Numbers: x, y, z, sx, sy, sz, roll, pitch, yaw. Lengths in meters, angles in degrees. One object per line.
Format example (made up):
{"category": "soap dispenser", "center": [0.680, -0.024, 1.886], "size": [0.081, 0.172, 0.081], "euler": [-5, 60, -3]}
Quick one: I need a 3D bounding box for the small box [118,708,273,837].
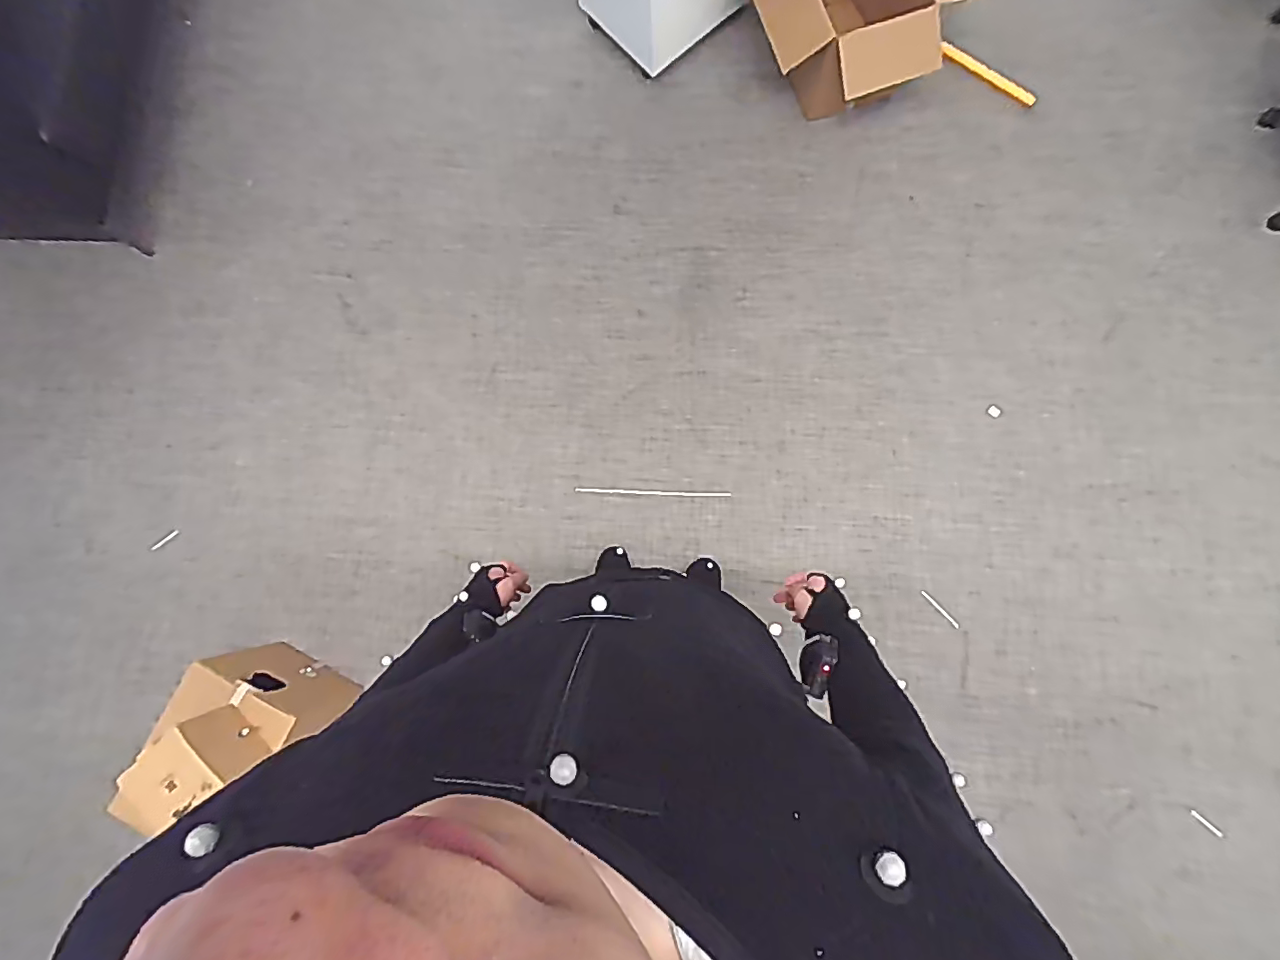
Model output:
{"category": "small box", "center": [-0.999, 0.649, 1.231], "size": [0.168, 0.176, 0.179], "euler": [-44, 84, -4]}

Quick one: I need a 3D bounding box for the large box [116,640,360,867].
{"category": "large box", "center": [-1.058, 0.707, 1.474], "size": [0.320, 0.320, 0.408], "euler": [26, 85, 6]}
